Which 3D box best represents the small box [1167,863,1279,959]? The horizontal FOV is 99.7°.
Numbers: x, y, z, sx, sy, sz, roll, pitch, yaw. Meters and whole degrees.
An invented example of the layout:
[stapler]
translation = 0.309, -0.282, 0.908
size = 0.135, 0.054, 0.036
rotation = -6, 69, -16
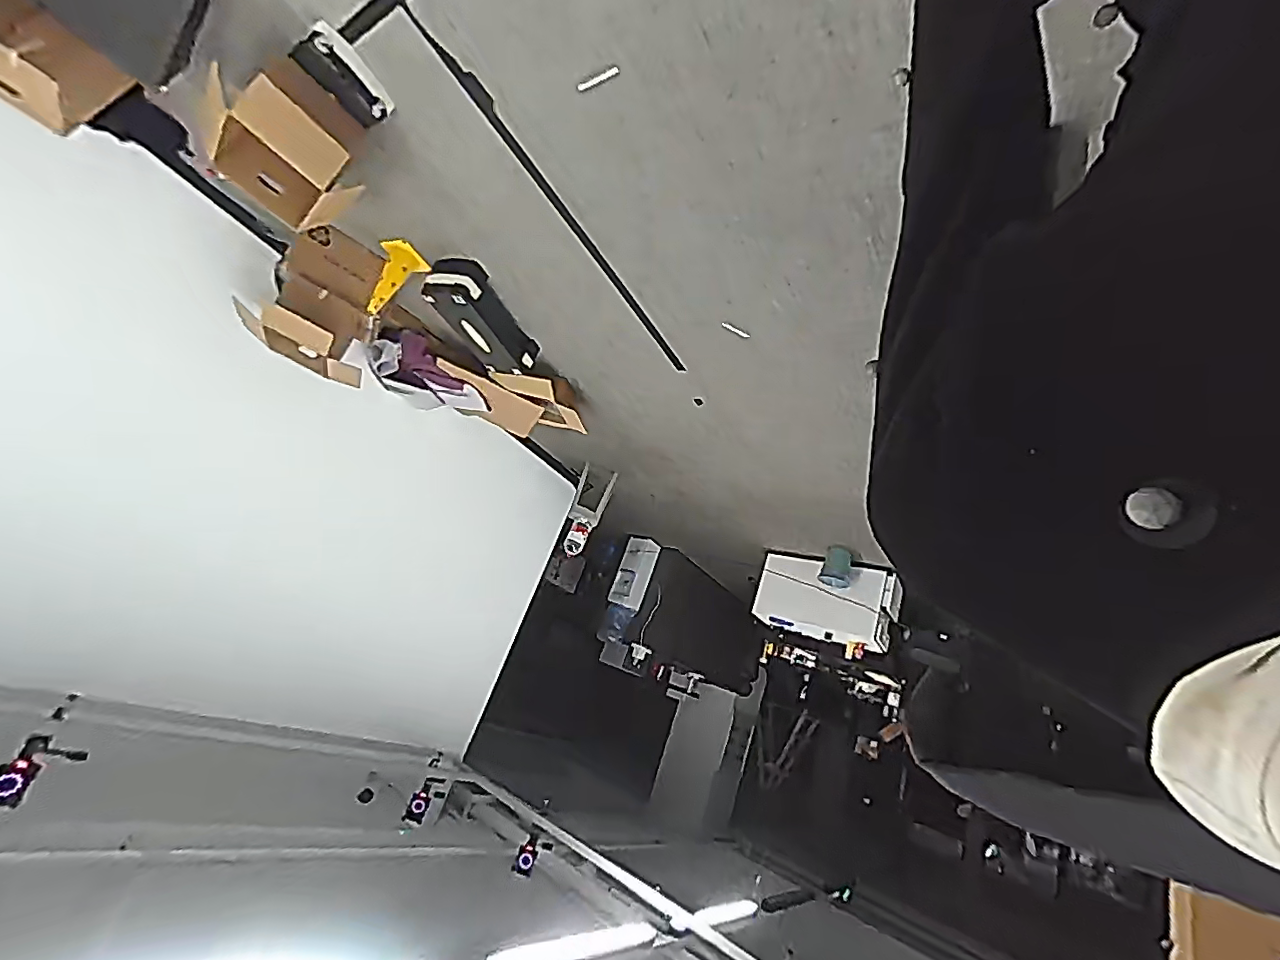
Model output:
[small box]
translation = 0.969, 0.742, 0.863
size = 0.168, 0.176, 0.179
rotation = 5, 154, 38
